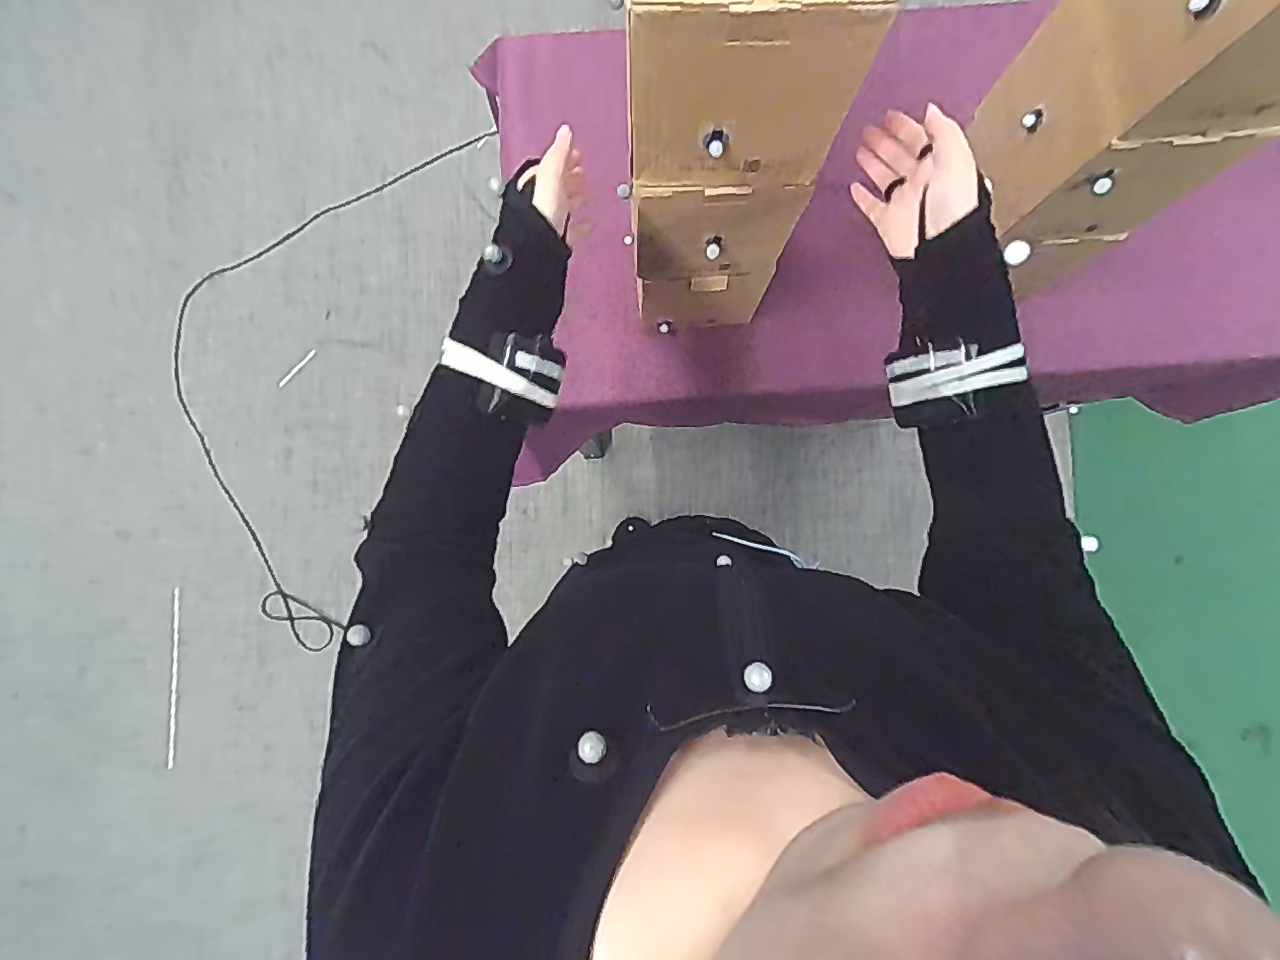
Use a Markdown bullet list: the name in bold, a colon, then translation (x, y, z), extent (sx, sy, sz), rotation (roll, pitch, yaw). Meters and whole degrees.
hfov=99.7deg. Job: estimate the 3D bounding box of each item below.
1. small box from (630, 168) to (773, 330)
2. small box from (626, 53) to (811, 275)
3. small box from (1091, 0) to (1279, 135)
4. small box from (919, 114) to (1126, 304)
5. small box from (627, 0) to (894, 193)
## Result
- **small box**: translation (0.077, -0.318, 0.744), extent (0.168, 0.176, 0.179), rotation (-5, 84, -1)
- **small box**: translation (0.073, -0.334, 0.581), extent (0.168, 0.176, 0.179), rotation (-3, 86, -1)
- **small box**: translation (0.504, -0.401, 0.420), extent (0.168, 0.176, 0.179), rotation (-4, 84, -1)
- **small box**: translation (0.508, -0.362, 0.746), extent (0.168, 0.176, 0.179), rotation (-2, 85, 1)
- **small box**: translation (0.073, -0.357, 0.418), extent (0.168, 0.176, 0.179), rotation (0, 85, 0)
